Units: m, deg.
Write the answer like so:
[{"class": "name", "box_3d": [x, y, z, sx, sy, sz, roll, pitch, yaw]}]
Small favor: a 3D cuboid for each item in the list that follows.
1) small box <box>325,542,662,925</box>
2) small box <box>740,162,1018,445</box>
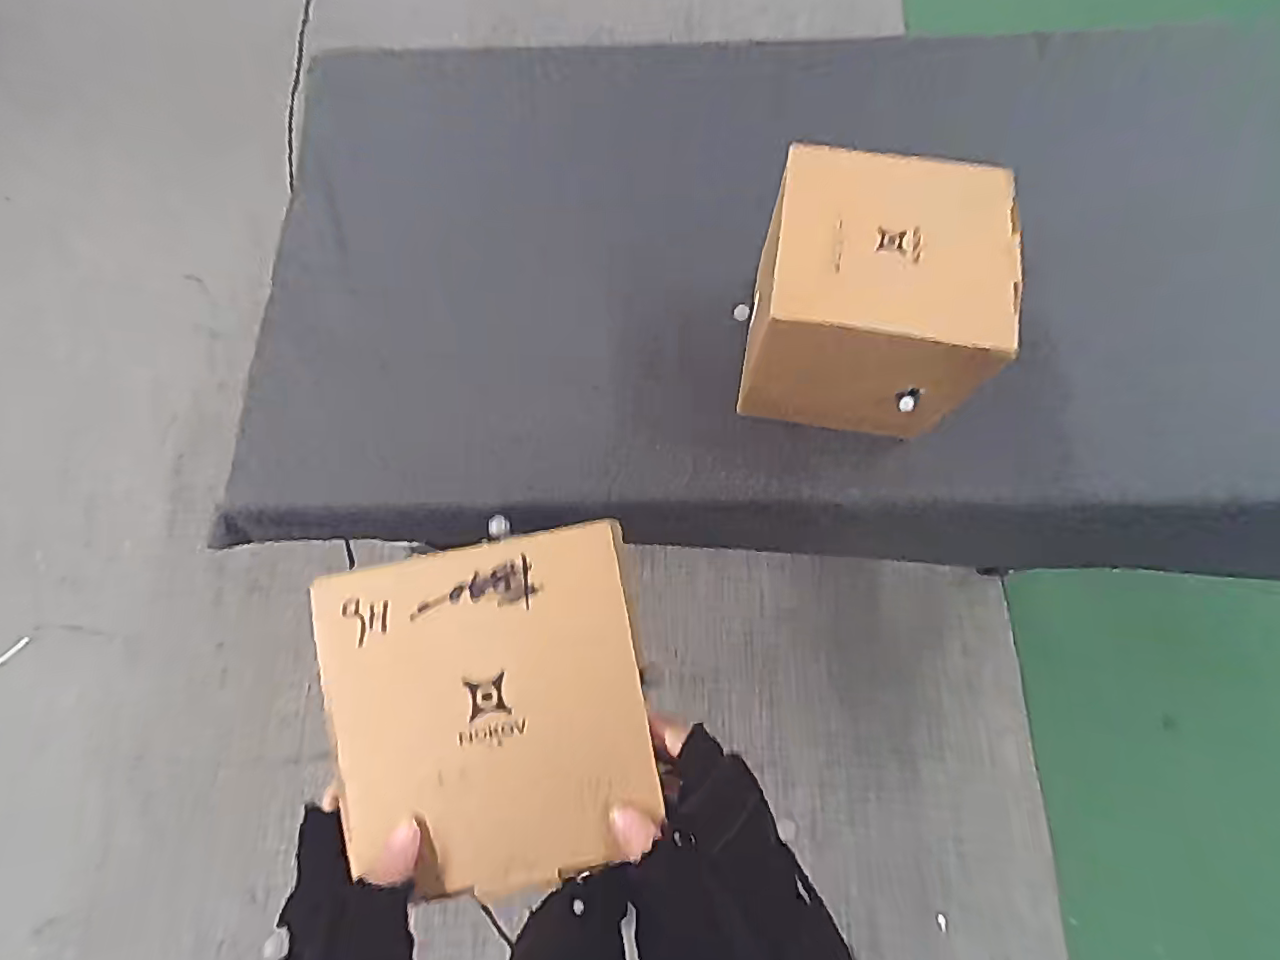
[{"class": "small box", "box_3d": [-0.080, 0.145, 0.374, 0.168, 0.176, 0.179, -10, 86, -2]}, {"class": "small box", "box_3d": [0.196, -0.142, 0.484, 0.179, 0.176, 0.168, 9, 72, 5]}]
